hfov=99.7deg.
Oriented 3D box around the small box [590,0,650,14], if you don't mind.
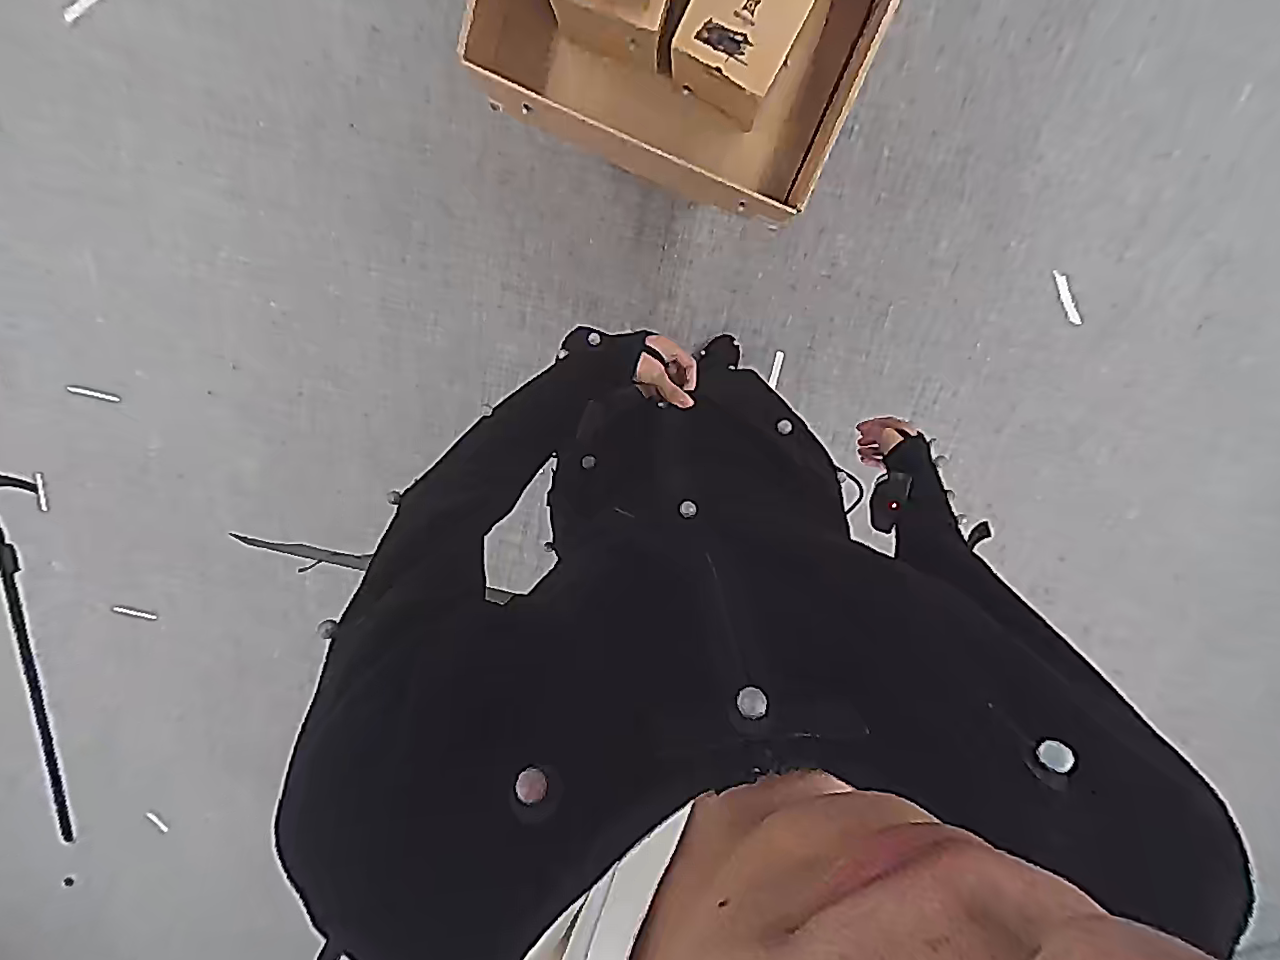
[{"bbox_3d":[-0.051,-0.764,0.699,0.168,0.176,0.179,13,109,-2],"label":"small box"}]
